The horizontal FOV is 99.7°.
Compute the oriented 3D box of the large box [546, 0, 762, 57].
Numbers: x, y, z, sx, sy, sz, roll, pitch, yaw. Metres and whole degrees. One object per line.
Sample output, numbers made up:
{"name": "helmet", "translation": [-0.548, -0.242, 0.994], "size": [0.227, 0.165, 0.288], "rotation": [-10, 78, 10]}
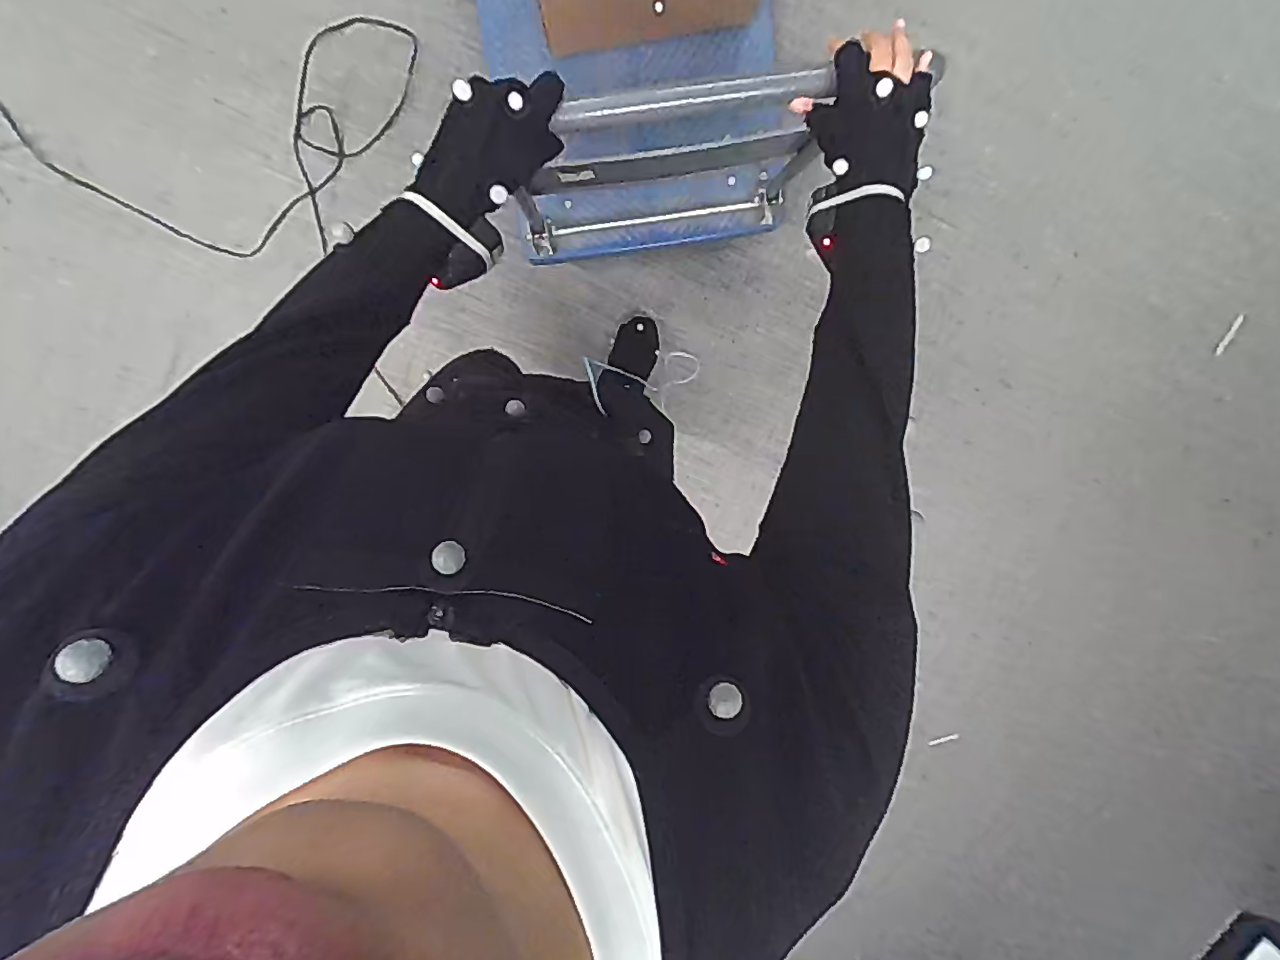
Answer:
{"name": "large box", "translation": [0.014, -0.983, 0.899], "size": [0.408, 0.320, 0.320], "rotation": [-10, 105, 1]}
